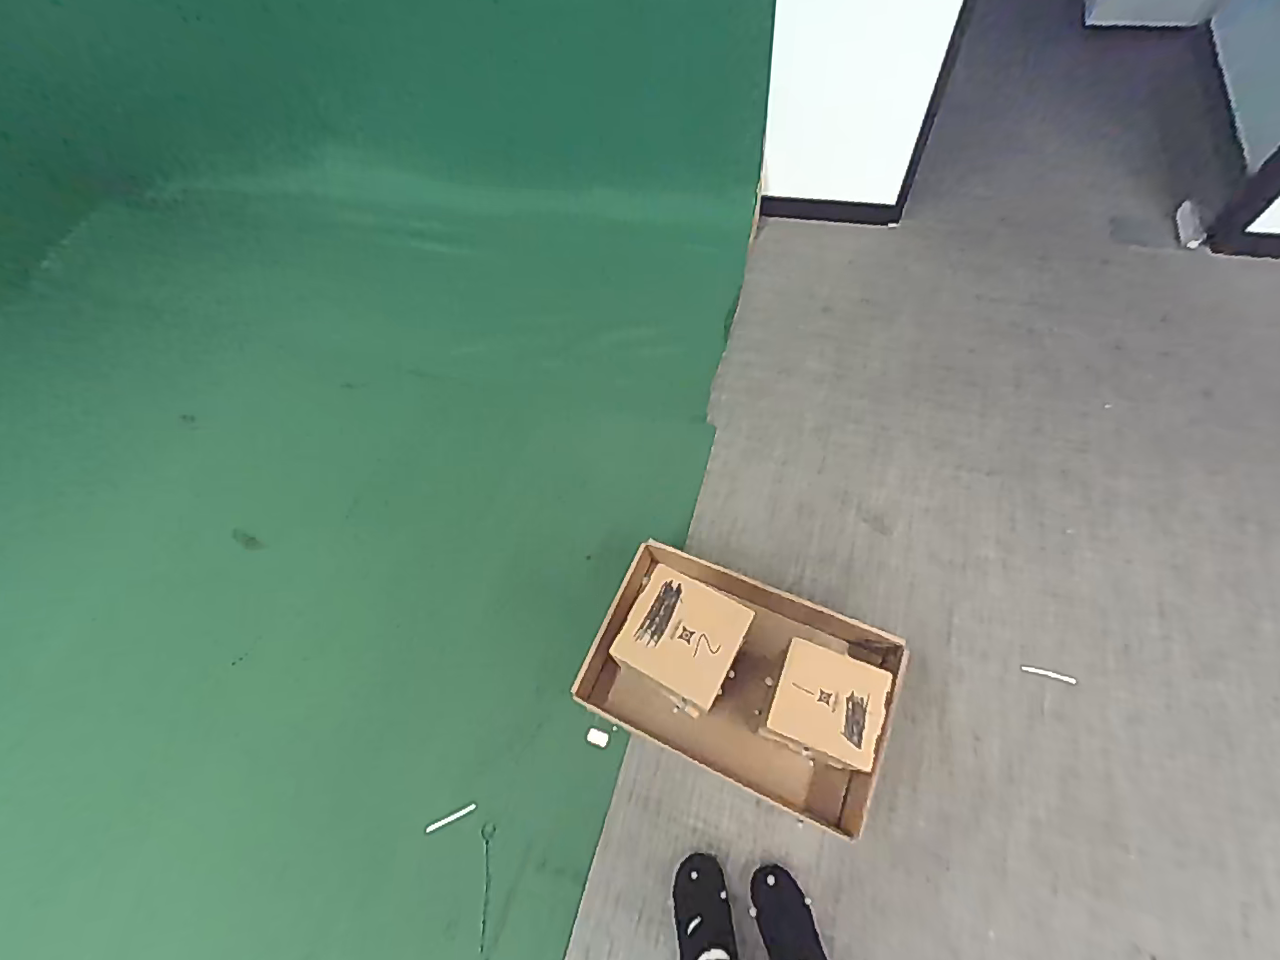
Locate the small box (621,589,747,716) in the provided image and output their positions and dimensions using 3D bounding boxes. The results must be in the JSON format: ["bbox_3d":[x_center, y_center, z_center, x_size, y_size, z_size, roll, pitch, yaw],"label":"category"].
[{"bbox_3d":[0.086,0.345,1.060,0.179,0.176,0.168,31,71,18],"label":"small box"}]

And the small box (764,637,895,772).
[{"bbox_3d":[0.337,0.408,0.988,0.179,0.176,0.168,17,68,18],"label":"small box"}]
